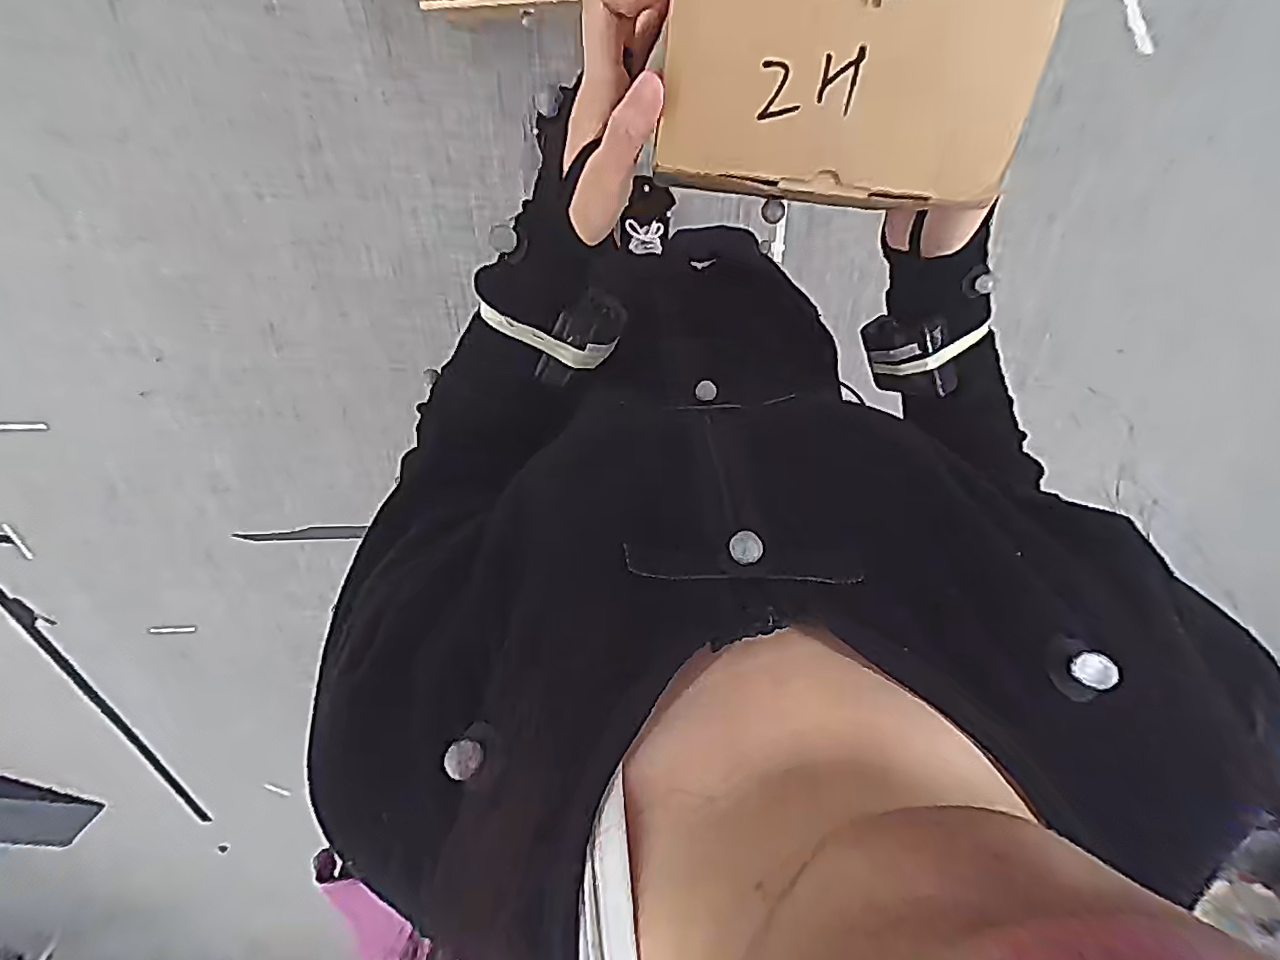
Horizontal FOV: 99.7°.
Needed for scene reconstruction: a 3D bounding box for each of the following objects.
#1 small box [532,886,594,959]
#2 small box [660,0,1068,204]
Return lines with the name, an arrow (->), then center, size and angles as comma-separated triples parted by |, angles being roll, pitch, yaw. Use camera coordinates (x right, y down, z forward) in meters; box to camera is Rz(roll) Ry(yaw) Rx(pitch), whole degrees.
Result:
small box -> -0.214, 1.279, 1.526 | 0.168, 0.176, 0.179 | 0, 124, -7
small box -> 0.102, -0.257, 0.291 | 0.168, 0.176, 0.179 | 7, 117, -1
